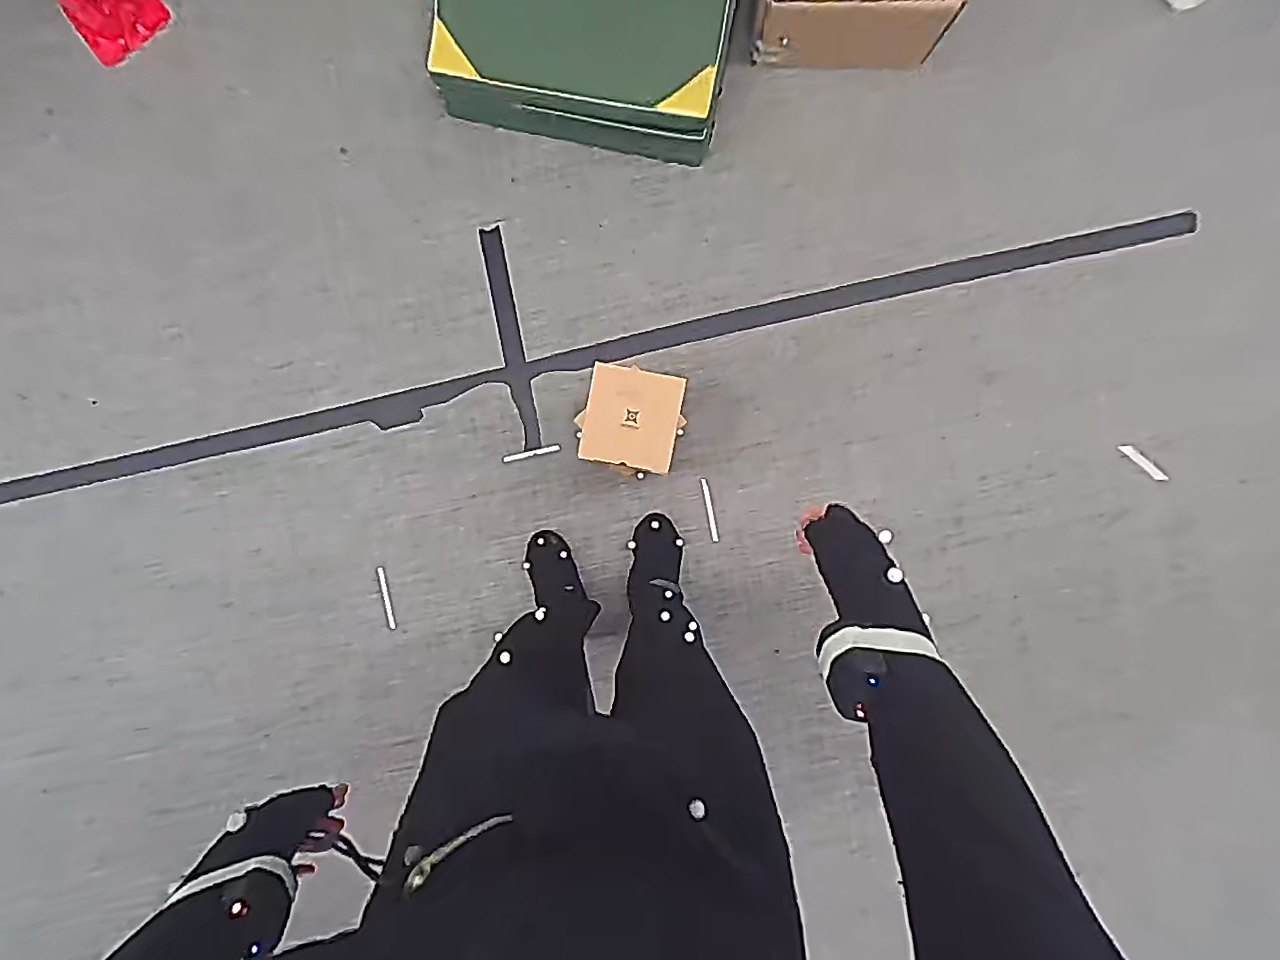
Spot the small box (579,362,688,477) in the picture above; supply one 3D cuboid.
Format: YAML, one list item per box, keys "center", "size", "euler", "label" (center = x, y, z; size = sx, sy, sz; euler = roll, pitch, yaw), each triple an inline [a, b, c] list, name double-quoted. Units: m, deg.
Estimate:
- center: [-0.011, -0.110, 1.031]
  size: [0.168, 0.176, 0.179]
  euler: [12, 92, -1]
  label: "small box"
